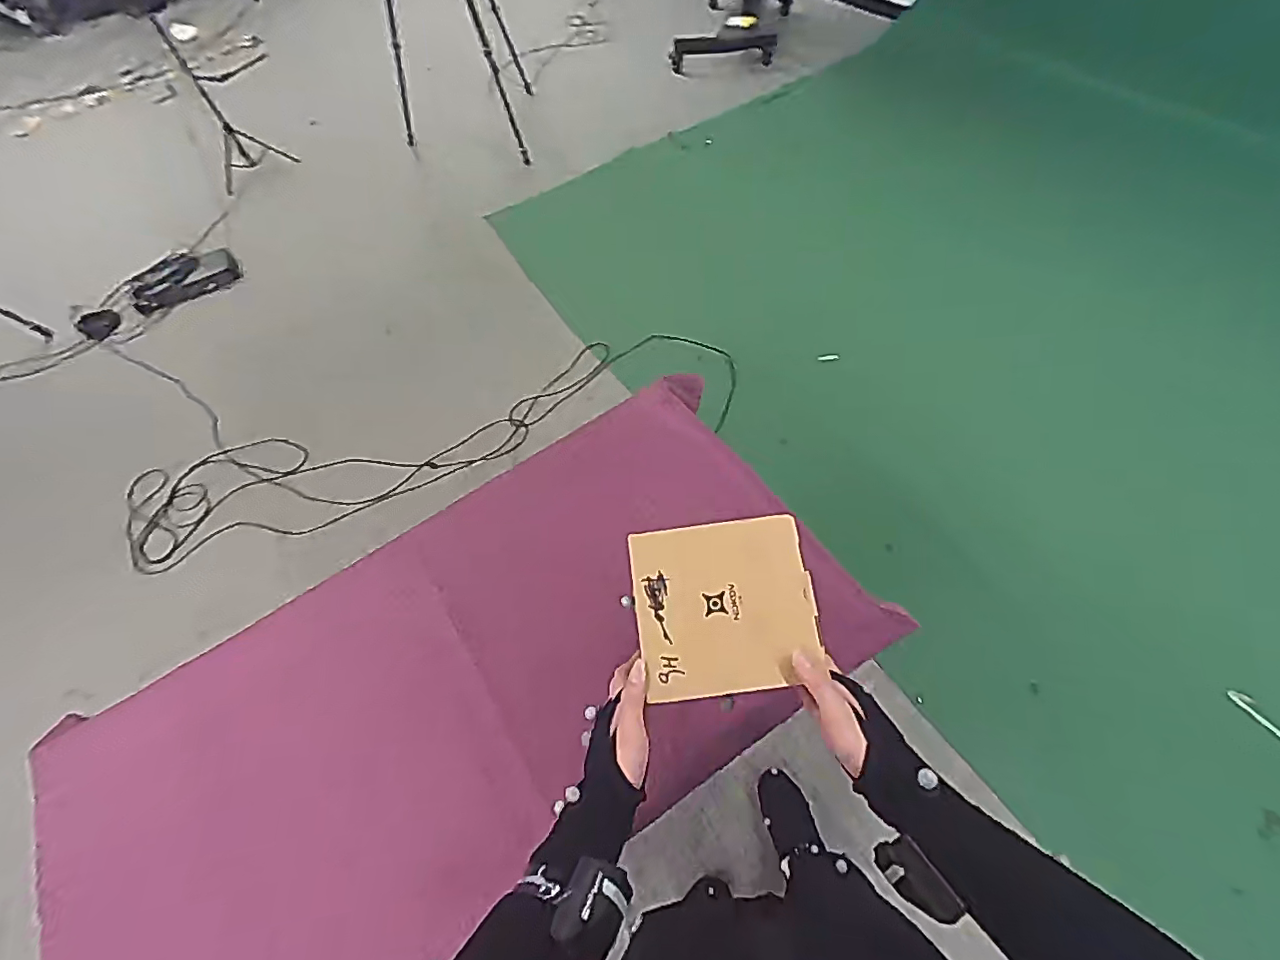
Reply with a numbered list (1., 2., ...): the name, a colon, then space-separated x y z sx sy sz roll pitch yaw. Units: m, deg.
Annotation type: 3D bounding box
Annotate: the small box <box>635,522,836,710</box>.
1. small box: 0.088 0.154 0.594 0.179 0.176 0.168 -6 67 -1
